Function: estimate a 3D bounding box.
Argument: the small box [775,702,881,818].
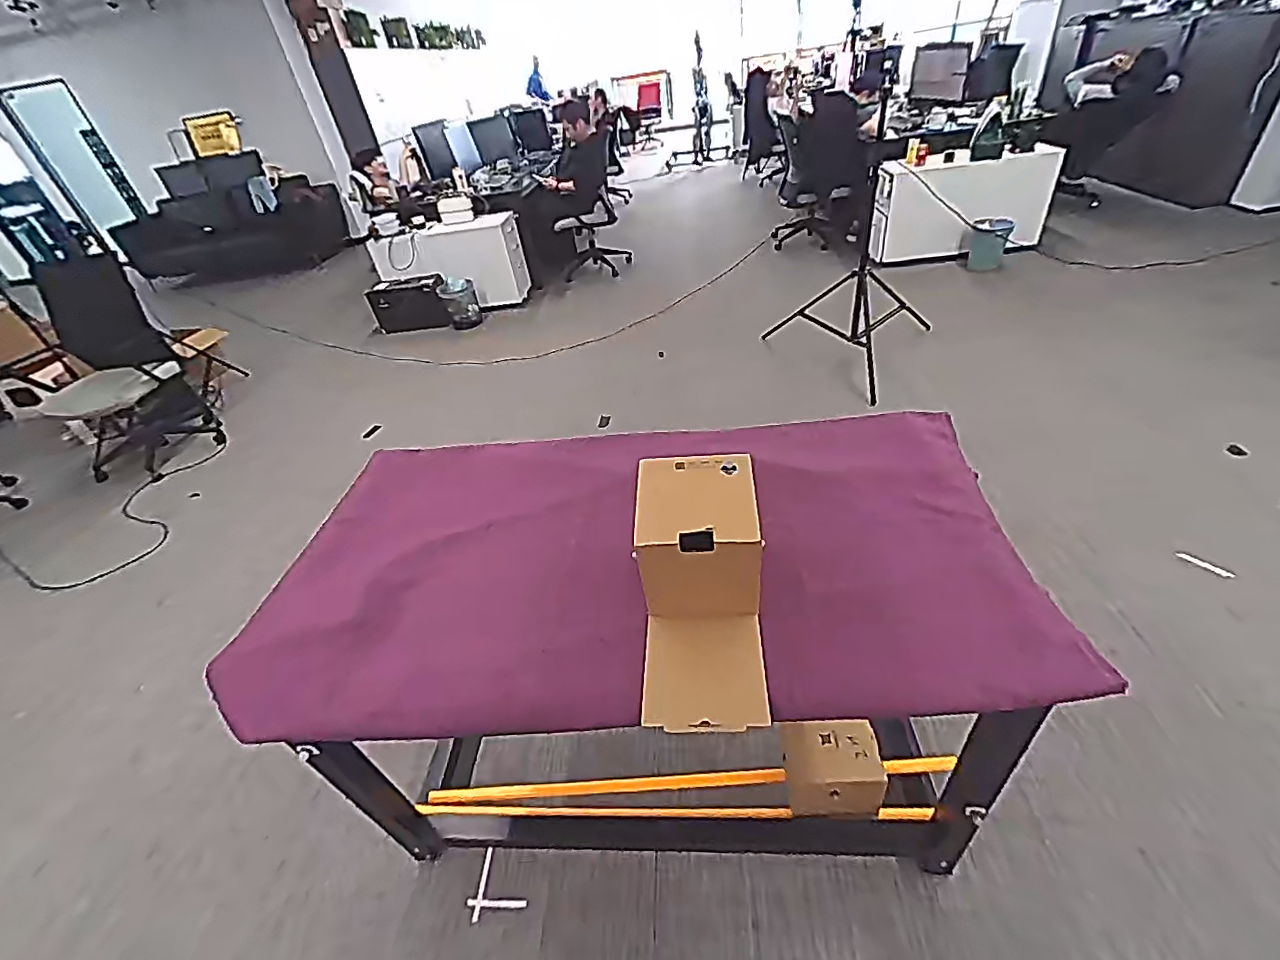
[{"bbox_3d":[0.384,0.588,1.133,0.179,0.176,0.168,-5,39,7],"label":"small box"}]

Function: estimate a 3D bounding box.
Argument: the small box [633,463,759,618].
[{"bbox_3d":[0.082,0.087,0.806,0.168,0.179,0.176,-3,45,7],"label":"small box"}]
